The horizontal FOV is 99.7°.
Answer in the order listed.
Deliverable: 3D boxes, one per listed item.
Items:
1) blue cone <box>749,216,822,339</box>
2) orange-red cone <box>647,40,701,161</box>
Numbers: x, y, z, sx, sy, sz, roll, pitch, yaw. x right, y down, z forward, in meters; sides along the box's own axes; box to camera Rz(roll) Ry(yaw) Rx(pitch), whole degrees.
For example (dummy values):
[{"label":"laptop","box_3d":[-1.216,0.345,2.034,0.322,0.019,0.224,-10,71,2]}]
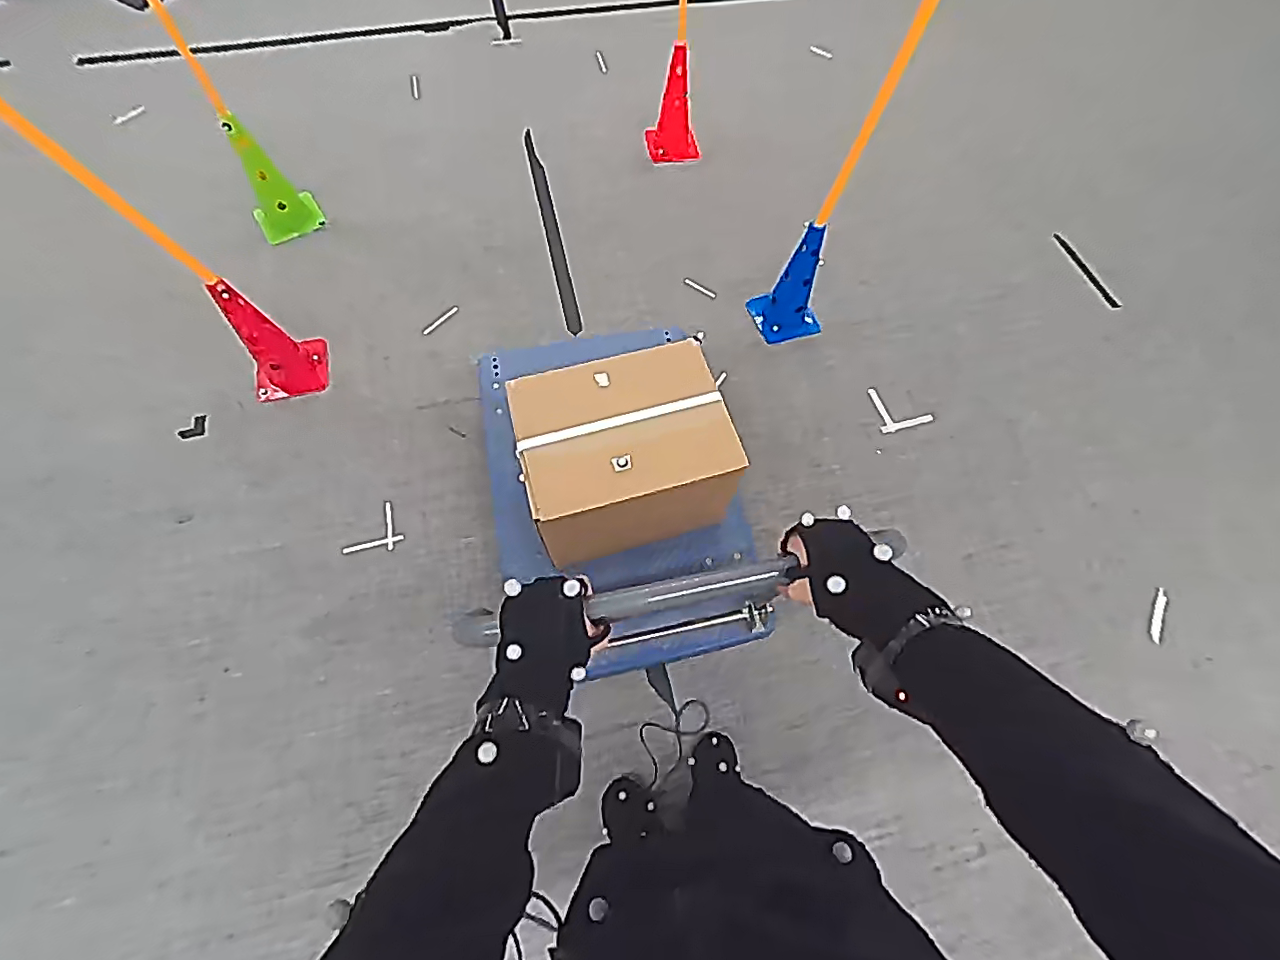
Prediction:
[{"label":"blue cone","box_3d":[0.482,-0.621,1.645,0.193,0.380,0.192,-15,65,-10]},{"label":"orange-red cone","box_3d":[0.141,-1.398,1.978,0.199,0.360,0.198,-5,66,-6]}]
